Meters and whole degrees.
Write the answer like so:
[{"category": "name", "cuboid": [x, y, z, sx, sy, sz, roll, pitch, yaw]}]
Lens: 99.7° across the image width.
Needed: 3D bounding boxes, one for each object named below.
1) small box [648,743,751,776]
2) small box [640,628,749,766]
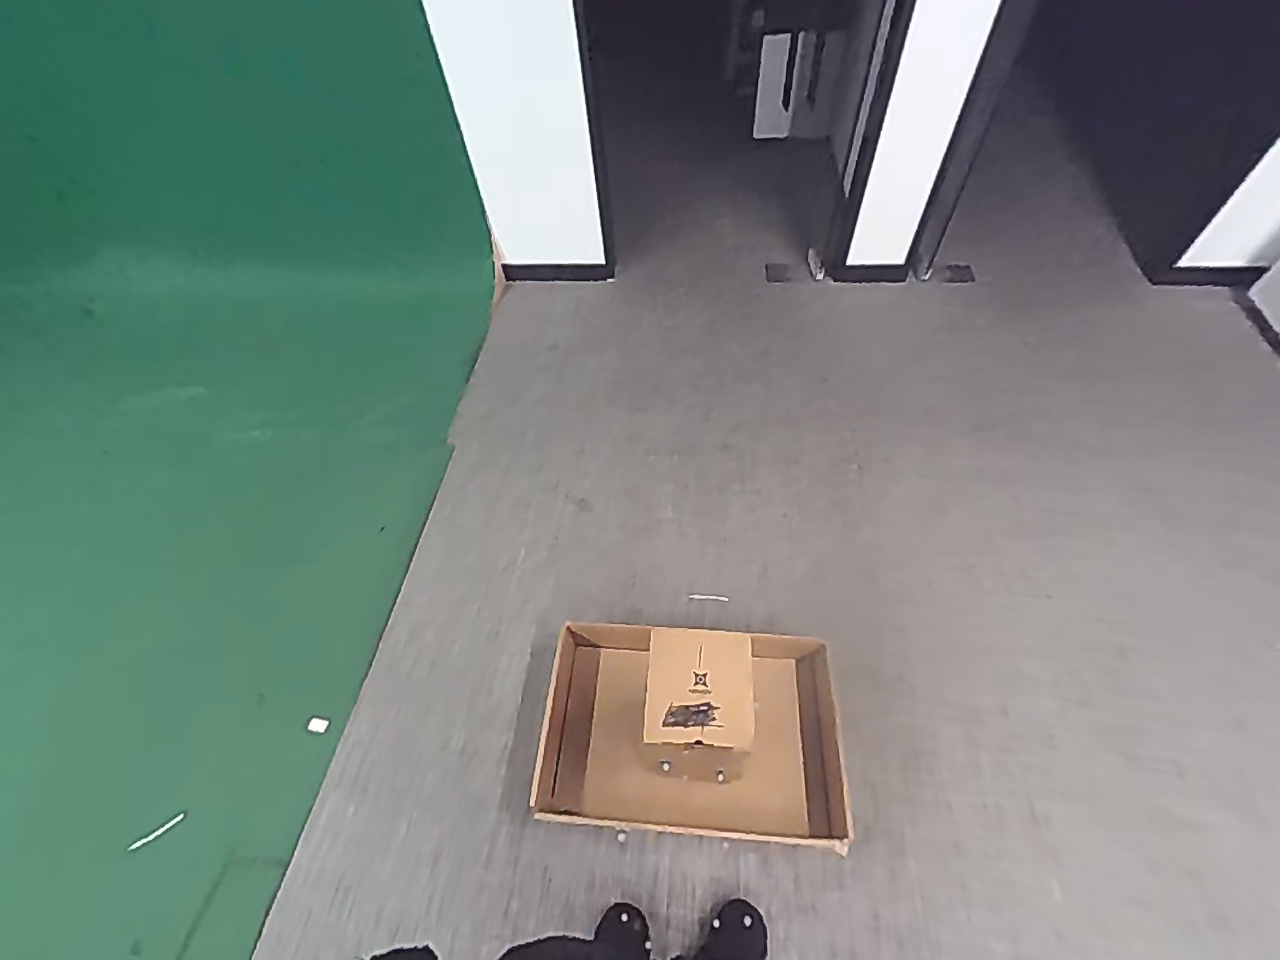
[{"category": "small box", "cuboid": [0.107, 0.456, 1.026, 0.179, 0.176, 0.168, -1, 54, 4]}, {"category": "small box", "cuboid": [0.094, 0.367, 0.907, 0.168, 0.176, 0.179, 2, 53, 6]}]
